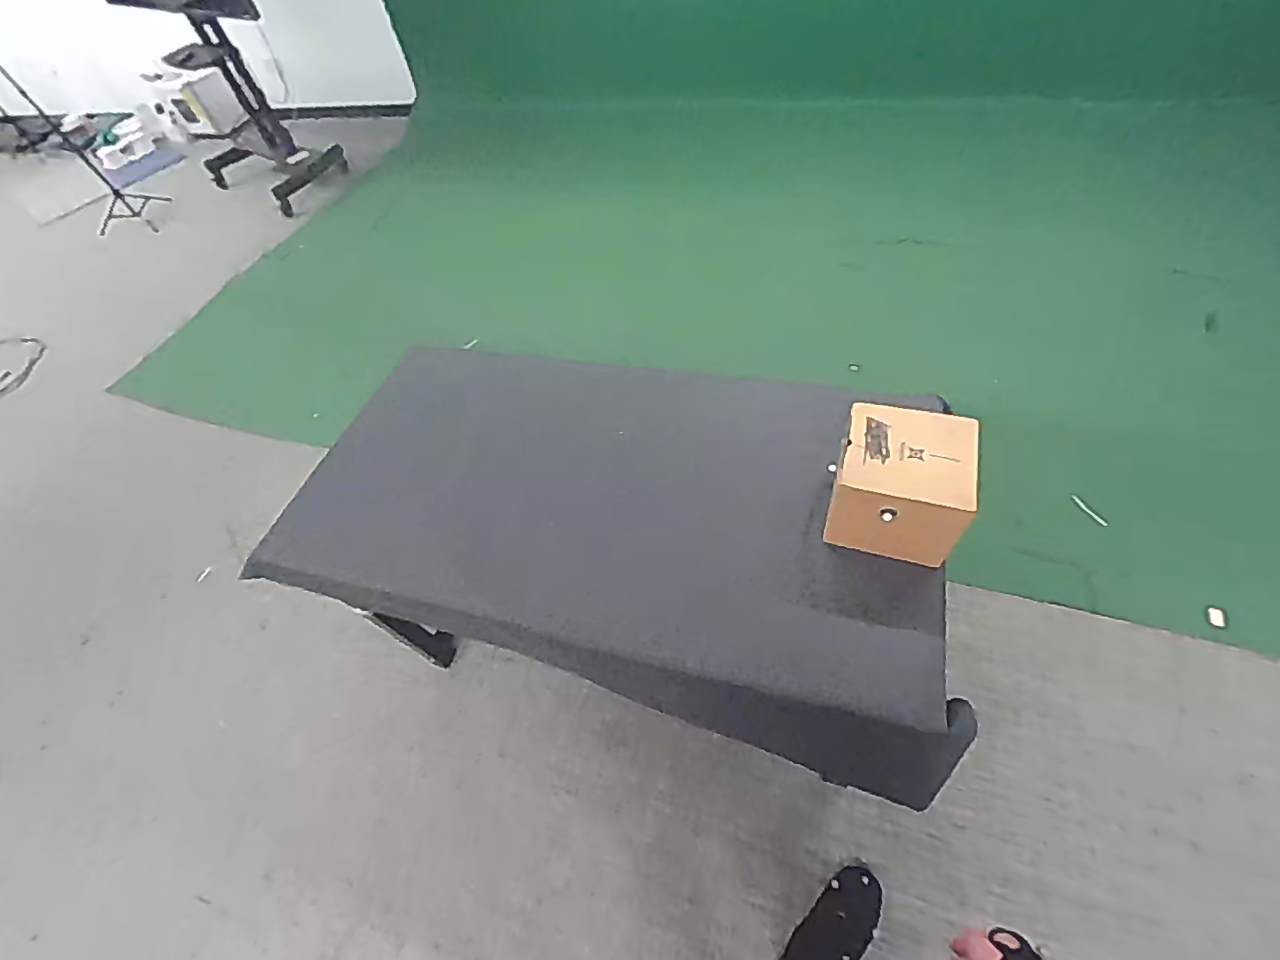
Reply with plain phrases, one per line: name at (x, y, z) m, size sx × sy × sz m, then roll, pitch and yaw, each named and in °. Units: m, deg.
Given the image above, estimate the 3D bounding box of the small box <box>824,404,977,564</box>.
small box at (0.394, 0.010, 0.837) m, size 0.179 × 0.176 × 0.168 m, roll 13°, pitch 56°, yaw 15°
